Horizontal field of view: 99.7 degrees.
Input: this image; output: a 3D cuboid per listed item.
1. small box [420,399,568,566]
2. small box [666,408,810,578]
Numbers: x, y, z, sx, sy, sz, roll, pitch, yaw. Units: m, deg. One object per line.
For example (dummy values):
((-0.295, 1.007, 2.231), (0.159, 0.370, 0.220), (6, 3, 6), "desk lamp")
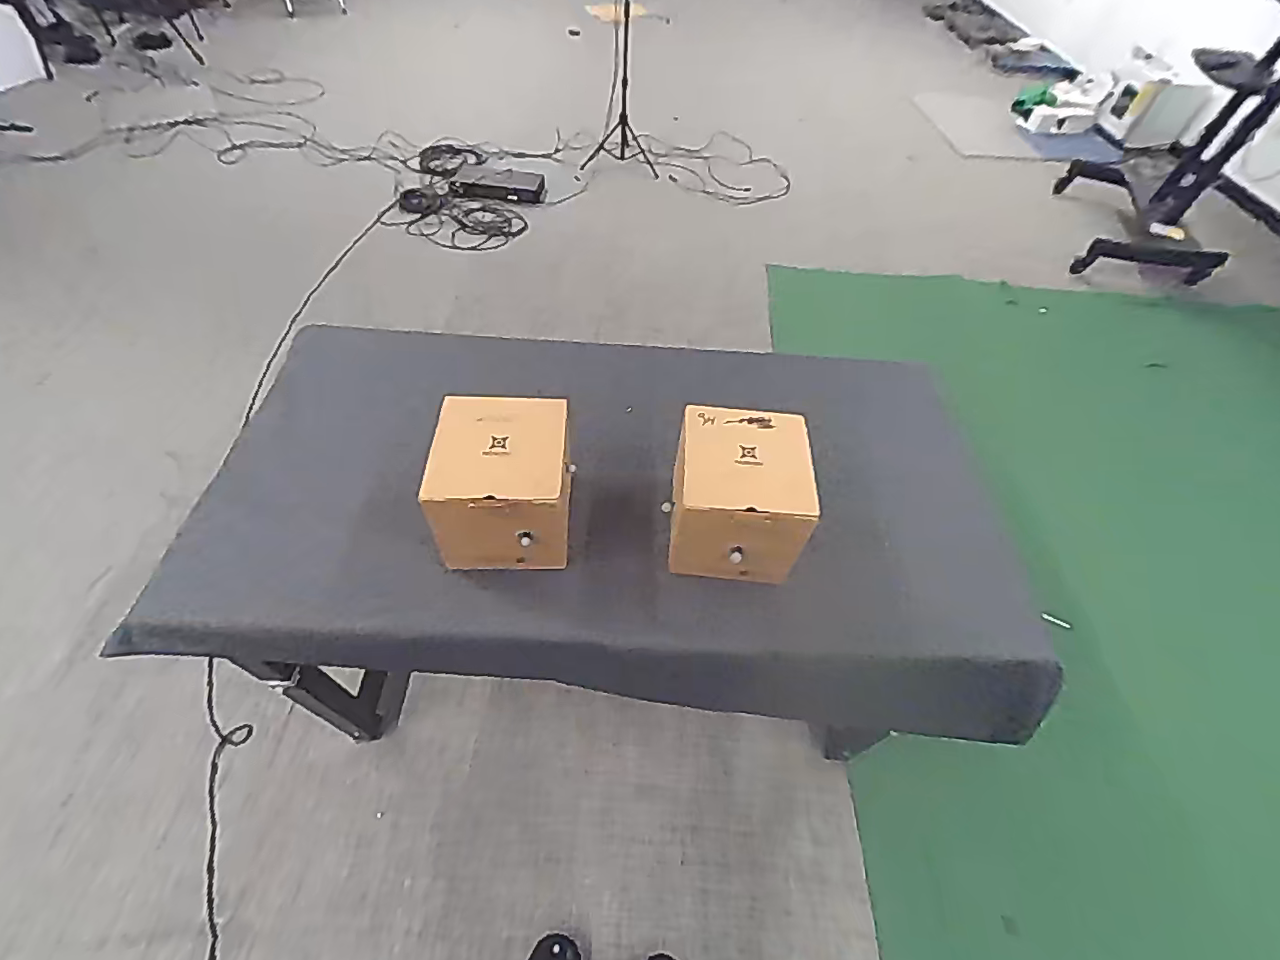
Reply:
((-0.188, 0.008, 0.755), (0.168, 0.176, 0.179), (1, 50, -6), "small box")
((0.128, 0.023, 0.767), (0.168, 0.176, 0.179), (6, 52, 0), "small box")
